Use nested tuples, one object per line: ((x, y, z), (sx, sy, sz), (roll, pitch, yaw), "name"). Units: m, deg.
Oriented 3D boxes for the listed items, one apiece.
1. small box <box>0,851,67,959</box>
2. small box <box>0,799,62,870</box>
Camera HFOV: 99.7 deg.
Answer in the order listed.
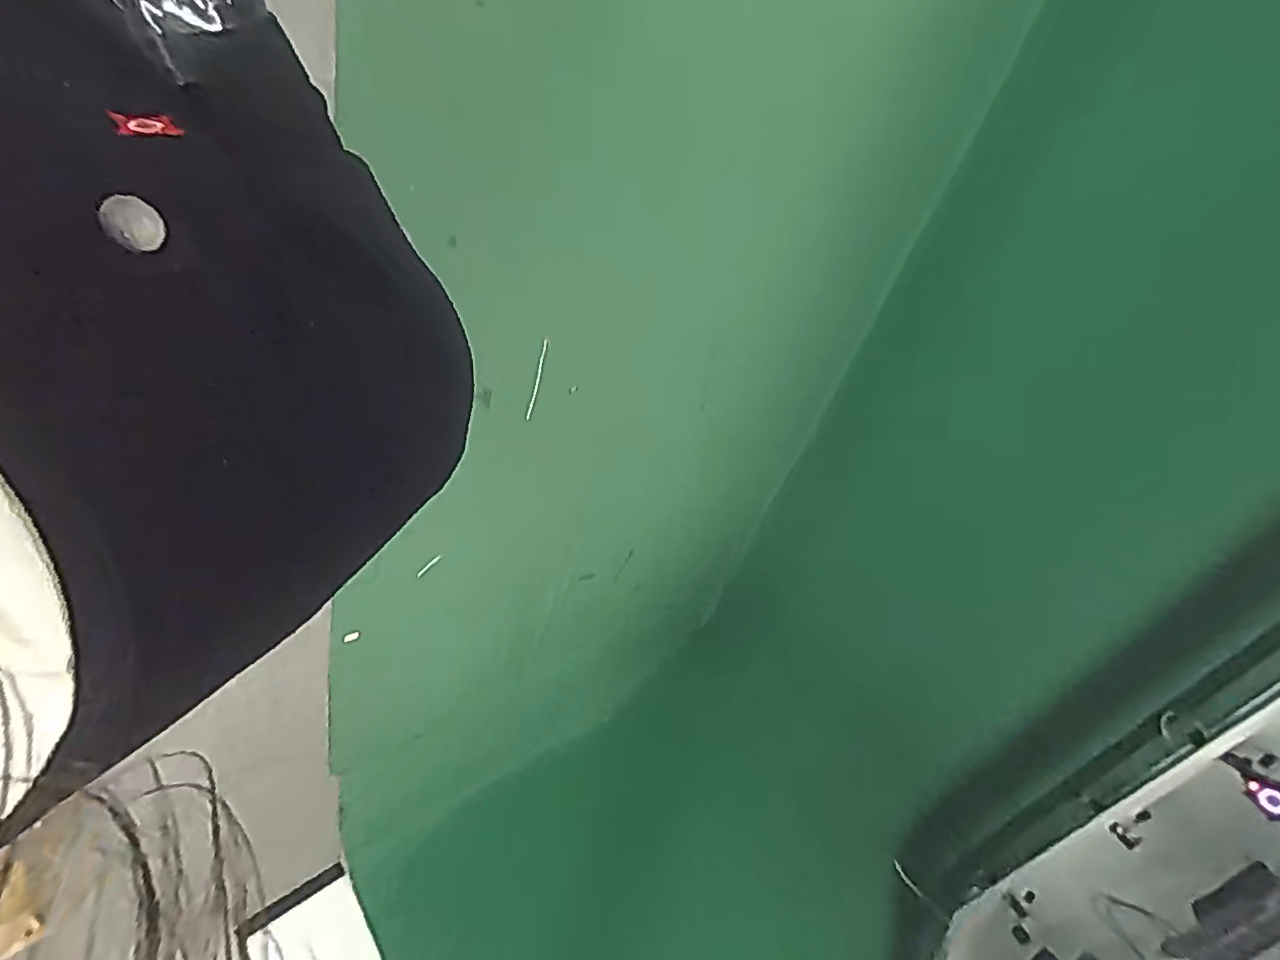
((-1.620, 1.107, 1.381), (0.179, 0.176, 0.168), (-19, 138, -40), "small box")
((-1.729, 1.020, 1.466), (0.179, 0.176, 0.168), (-23, 140, -36), "small box")
